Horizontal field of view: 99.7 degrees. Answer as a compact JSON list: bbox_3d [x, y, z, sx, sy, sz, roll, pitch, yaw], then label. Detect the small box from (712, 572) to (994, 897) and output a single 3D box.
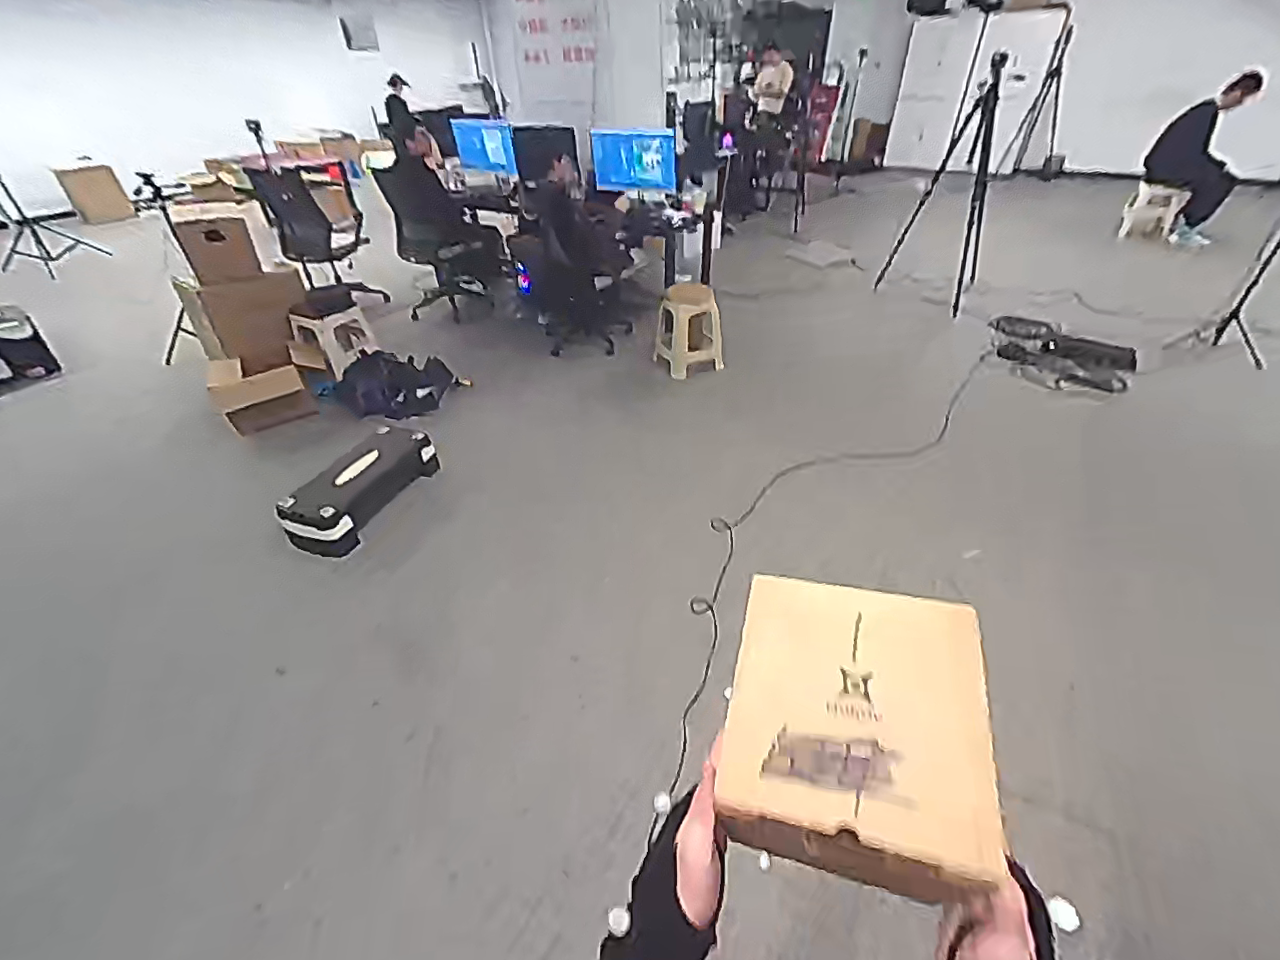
[{"bbox_3d":[0.162,0.203,0.437,0.168,0.176,0.179,7,48,18],"label":"small box"}]
